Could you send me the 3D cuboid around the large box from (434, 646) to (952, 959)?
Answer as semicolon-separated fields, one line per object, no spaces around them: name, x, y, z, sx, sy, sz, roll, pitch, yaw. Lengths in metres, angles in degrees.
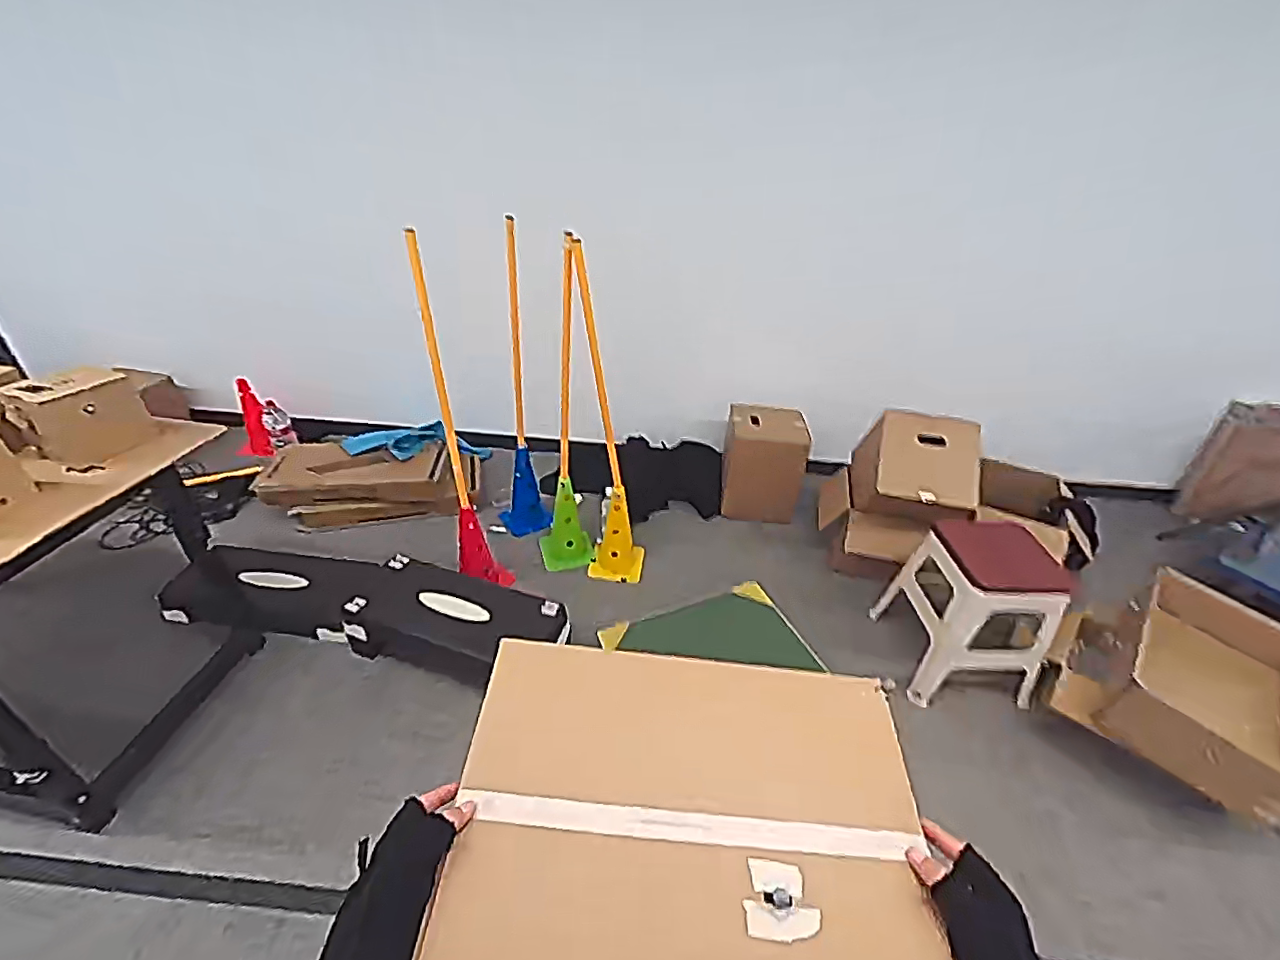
large box;0.035;0.410;0.573;0.408;0.320;0.320;7;43;-1
